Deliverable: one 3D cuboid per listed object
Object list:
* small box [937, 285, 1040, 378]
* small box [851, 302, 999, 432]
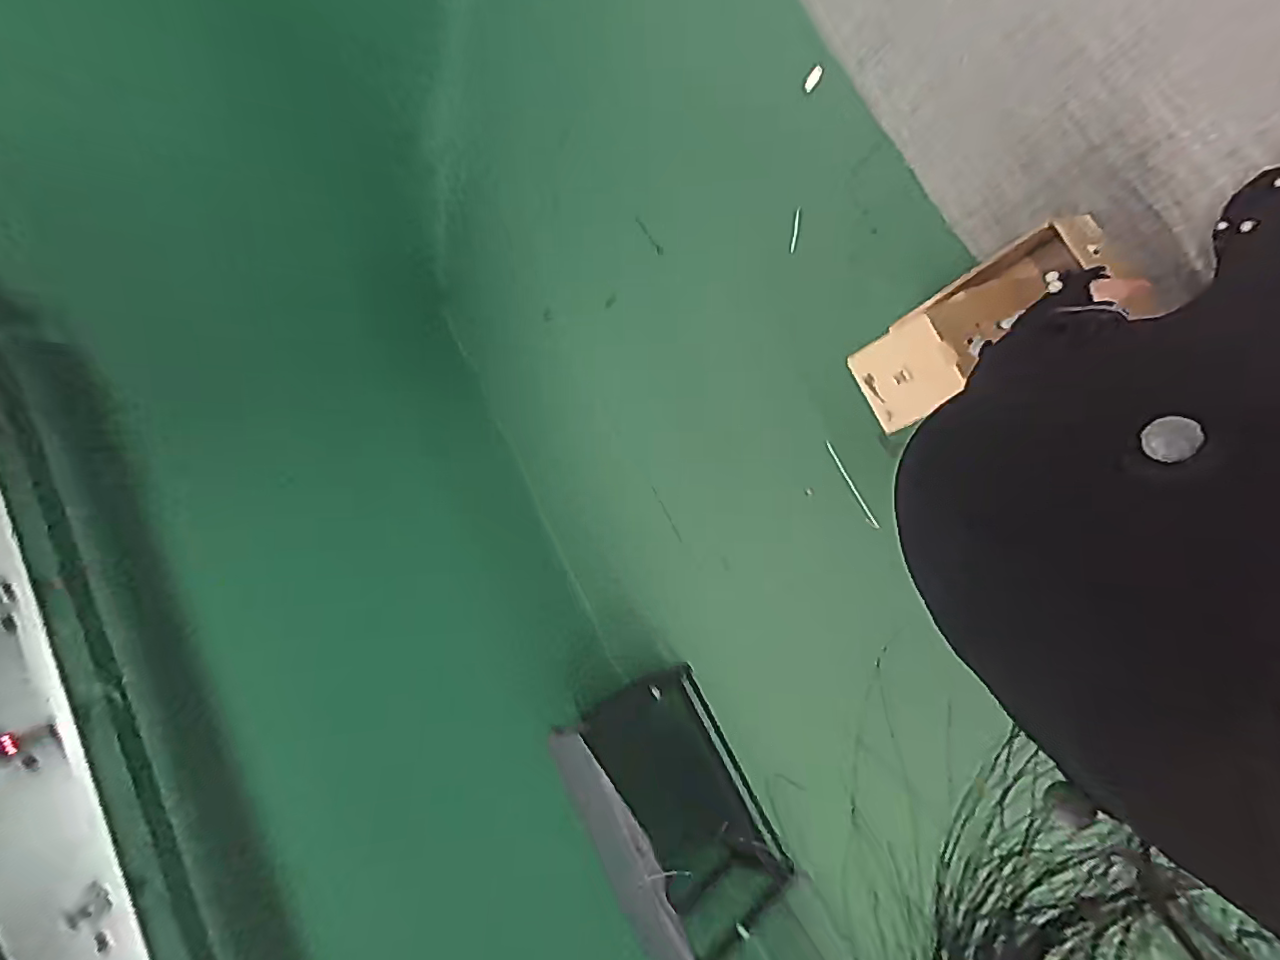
[{"bbox_3d":[0.677,-0.279,1.118,0.179,0.176,0.168,61,144,9],"label":"small box"},{"bbox_3d":[0.550,-0.218,1.033,0.179,0.176,0.168,-33,82,54],"label":"small box"}]
